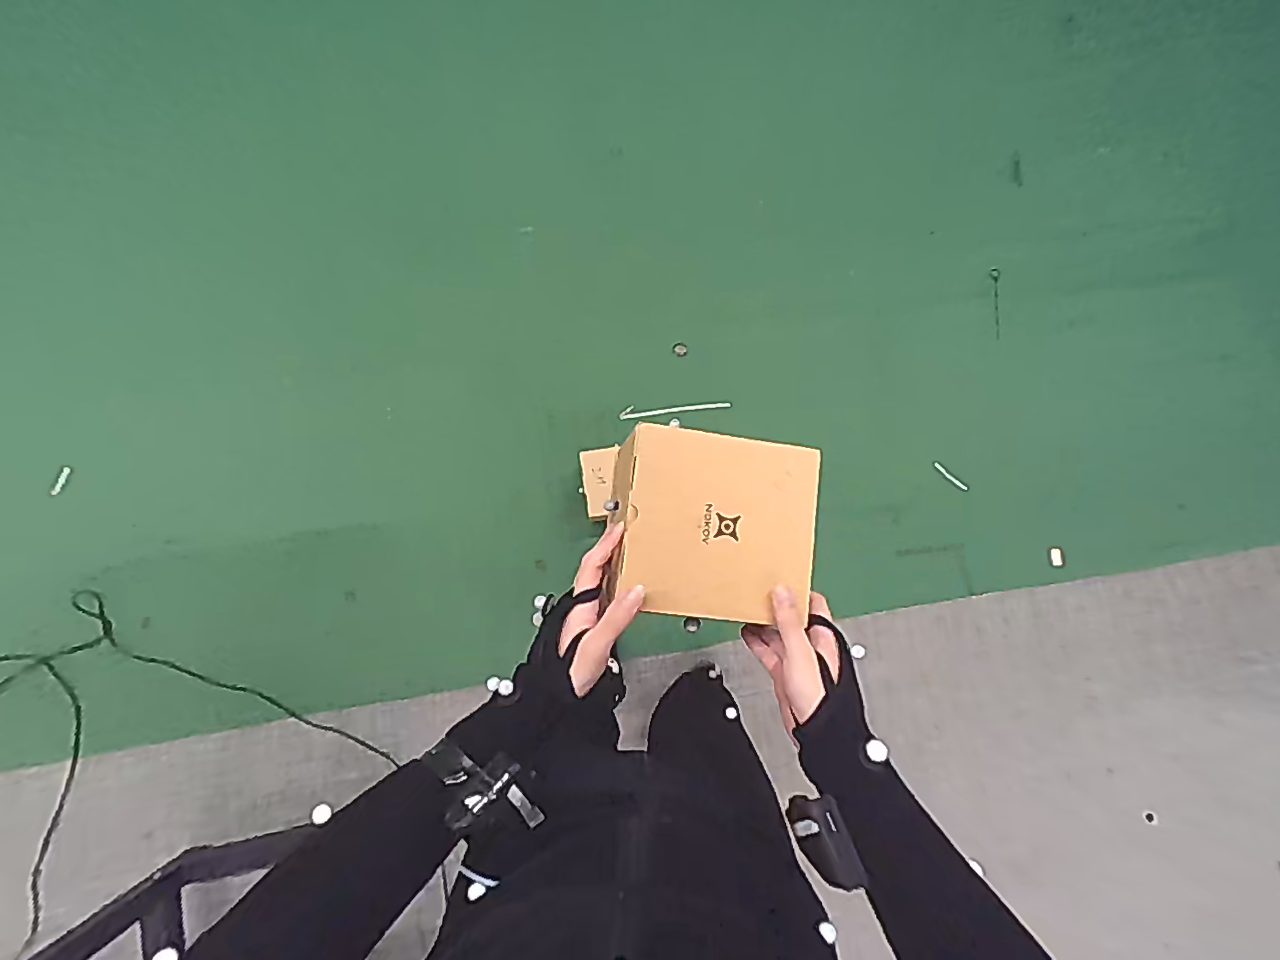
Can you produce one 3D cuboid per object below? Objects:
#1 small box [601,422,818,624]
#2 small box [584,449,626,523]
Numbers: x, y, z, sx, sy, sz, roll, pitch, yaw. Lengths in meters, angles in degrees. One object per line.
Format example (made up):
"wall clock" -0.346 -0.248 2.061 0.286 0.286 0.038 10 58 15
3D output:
"small box" 0.061 0.047 0.564 0.179 0.176 0.168 8 82 -7
"small box" -0.049 0.017 1.410 0.179 0.176 0.168 -9 81 -5
